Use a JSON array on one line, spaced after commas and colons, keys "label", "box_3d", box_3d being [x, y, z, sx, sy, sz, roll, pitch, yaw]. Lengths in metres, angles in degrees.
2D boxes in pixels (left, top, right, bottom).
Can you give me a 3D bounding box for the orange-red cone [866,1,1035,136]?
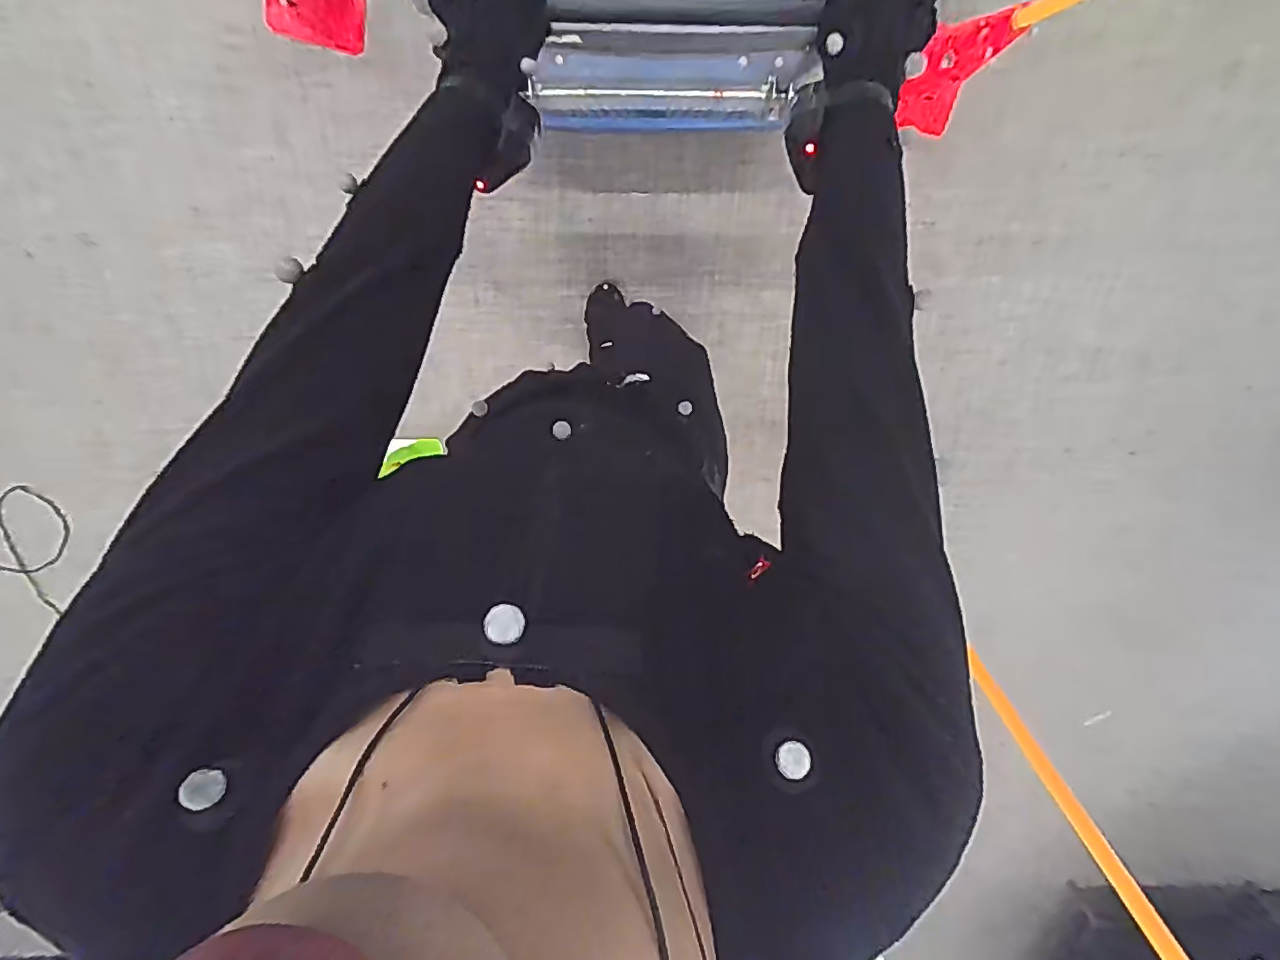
[{"label": "orange-red cone", "box_3d": [0.619, -0.817, 1.032, 0.198, 0.360, 0.199, 11, 114, -5]}]
